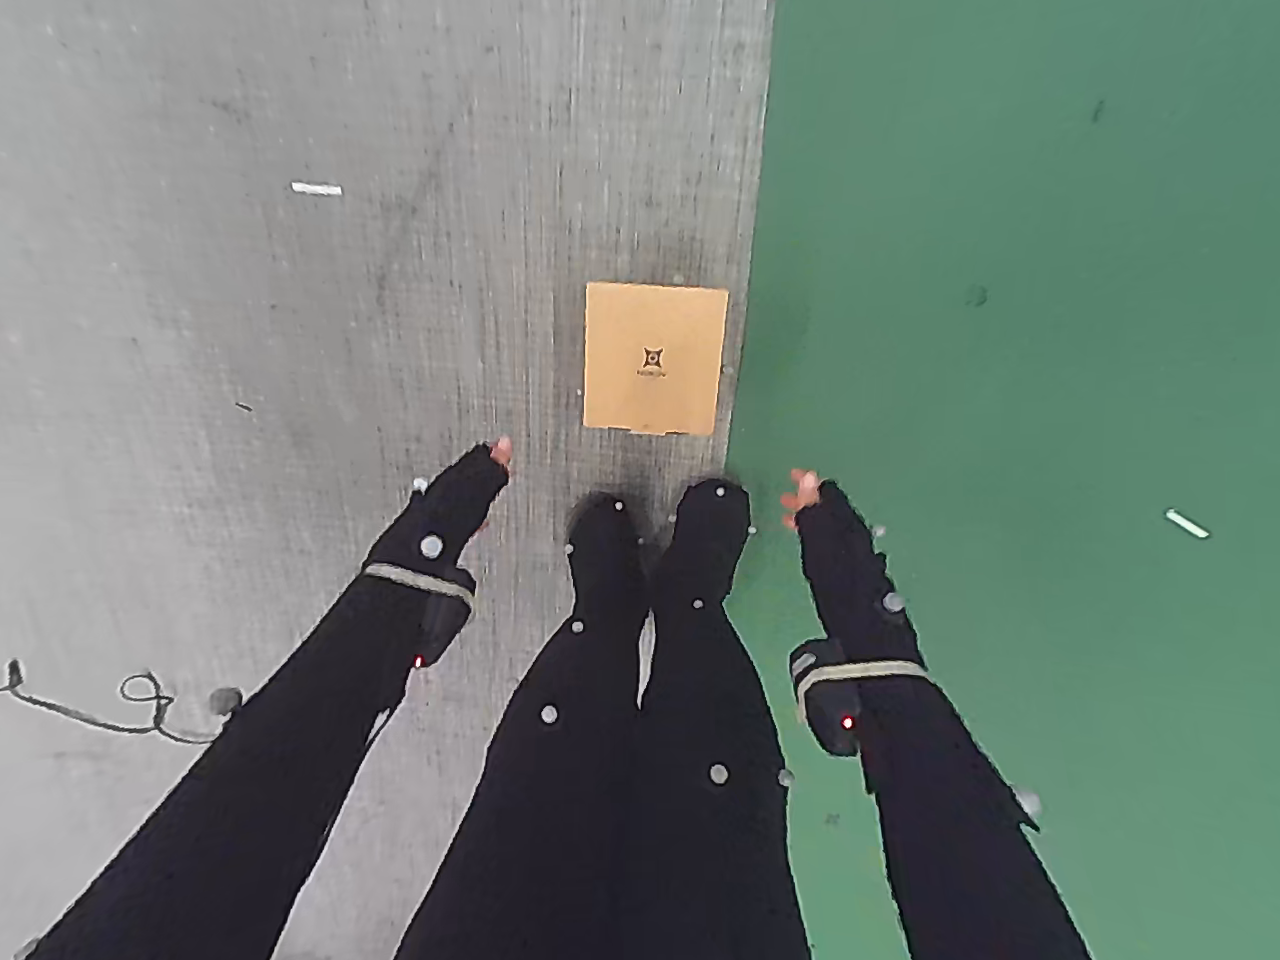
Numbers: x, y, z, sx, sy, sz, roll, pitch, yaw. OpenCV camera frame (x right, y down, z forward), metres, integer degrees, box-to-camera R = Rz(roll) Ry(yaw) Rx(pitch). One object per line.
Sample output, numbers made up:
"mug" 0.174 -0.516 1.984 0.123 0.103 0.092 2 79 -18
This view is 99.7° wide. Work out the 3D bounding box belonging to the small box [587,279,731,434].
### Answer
"small box" 0.025 -0.171 0.728 0.168 0.176 0.179 5 110 4
